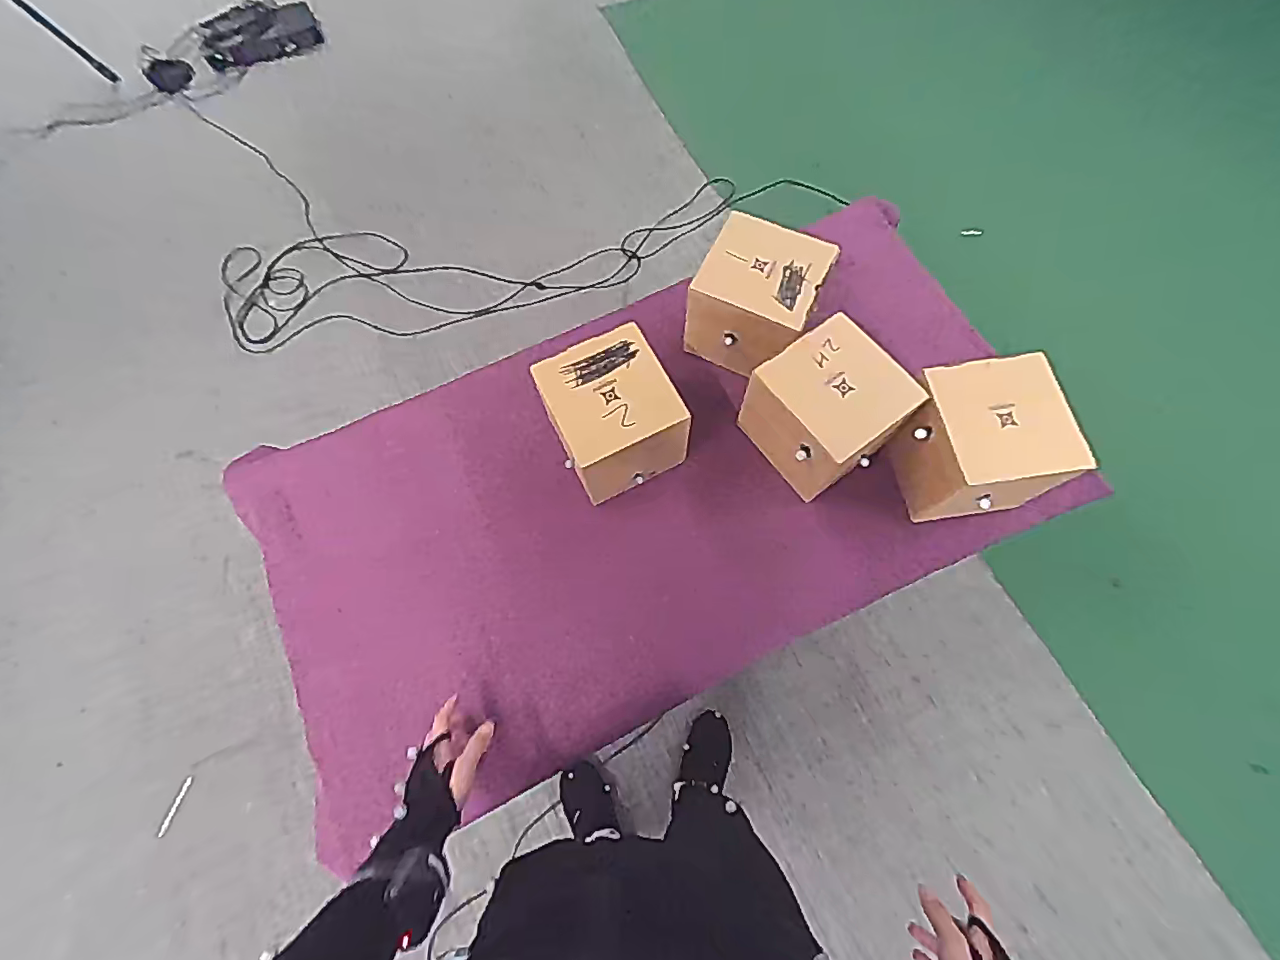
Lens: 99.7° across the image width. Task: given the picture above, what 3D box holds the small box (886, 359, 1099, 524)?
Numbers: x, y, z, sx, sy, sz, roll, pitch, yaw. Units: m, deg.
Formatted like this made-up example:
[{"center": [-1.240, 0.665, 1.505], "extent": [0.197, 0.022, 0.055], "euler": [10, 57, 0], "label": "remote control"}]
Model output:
[{"center": [0.480, -0.044, 0.770], "extent": [0.168, 0.176, 0.179], "euler": [-8, 68, 0], "label": "small box"}]
